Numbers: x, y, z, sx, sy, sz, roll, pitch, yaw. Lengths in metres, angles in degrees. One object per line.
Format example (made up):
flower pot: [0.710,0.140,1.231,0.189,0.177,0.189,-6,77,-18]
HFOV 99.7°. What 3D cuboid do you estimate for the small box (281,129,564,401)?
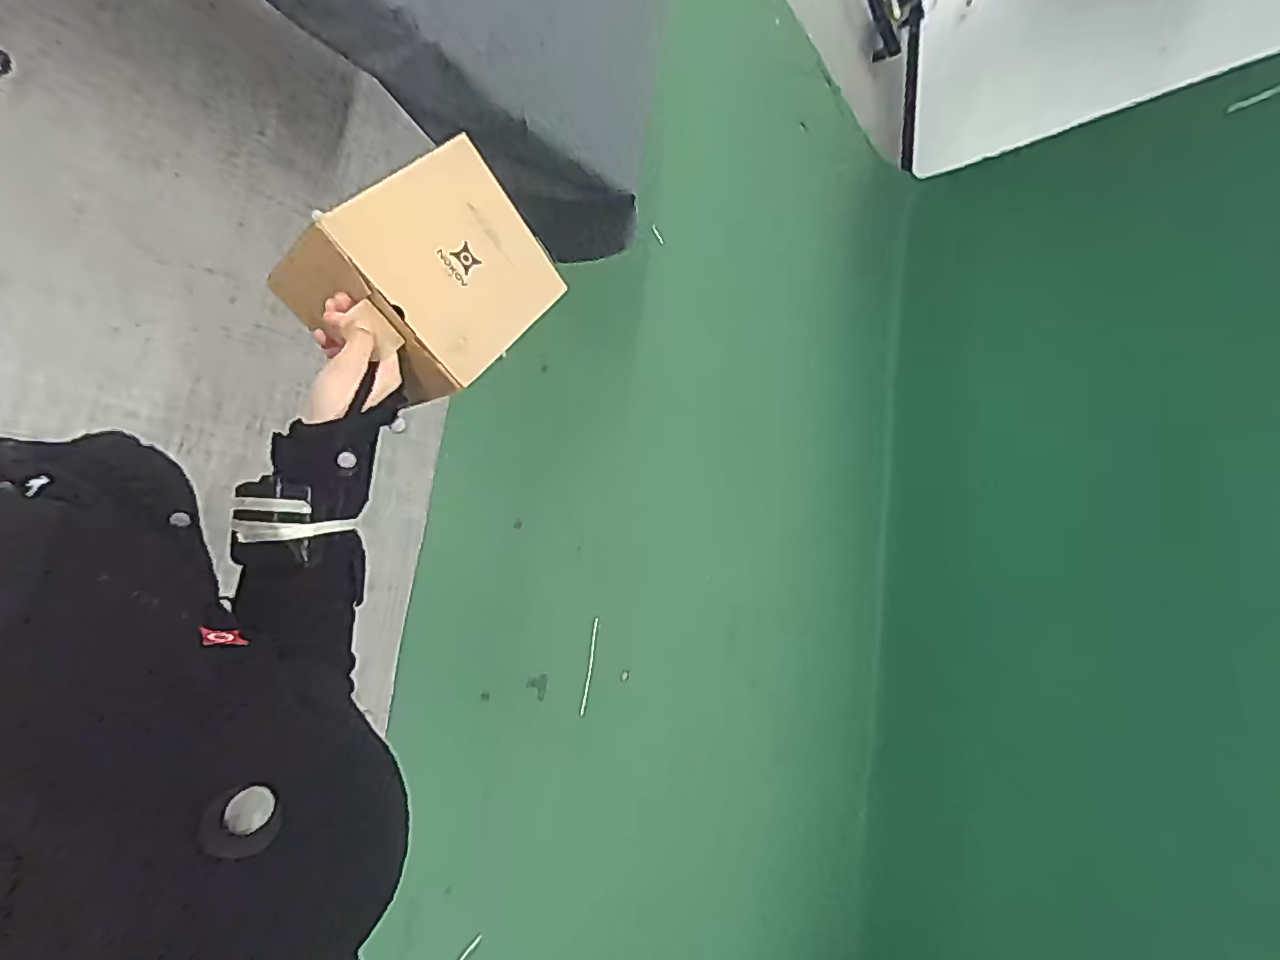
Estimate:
small box: [-0.218,-0.198,0.539,0.168,0.176,0.179,54,53,-31]
